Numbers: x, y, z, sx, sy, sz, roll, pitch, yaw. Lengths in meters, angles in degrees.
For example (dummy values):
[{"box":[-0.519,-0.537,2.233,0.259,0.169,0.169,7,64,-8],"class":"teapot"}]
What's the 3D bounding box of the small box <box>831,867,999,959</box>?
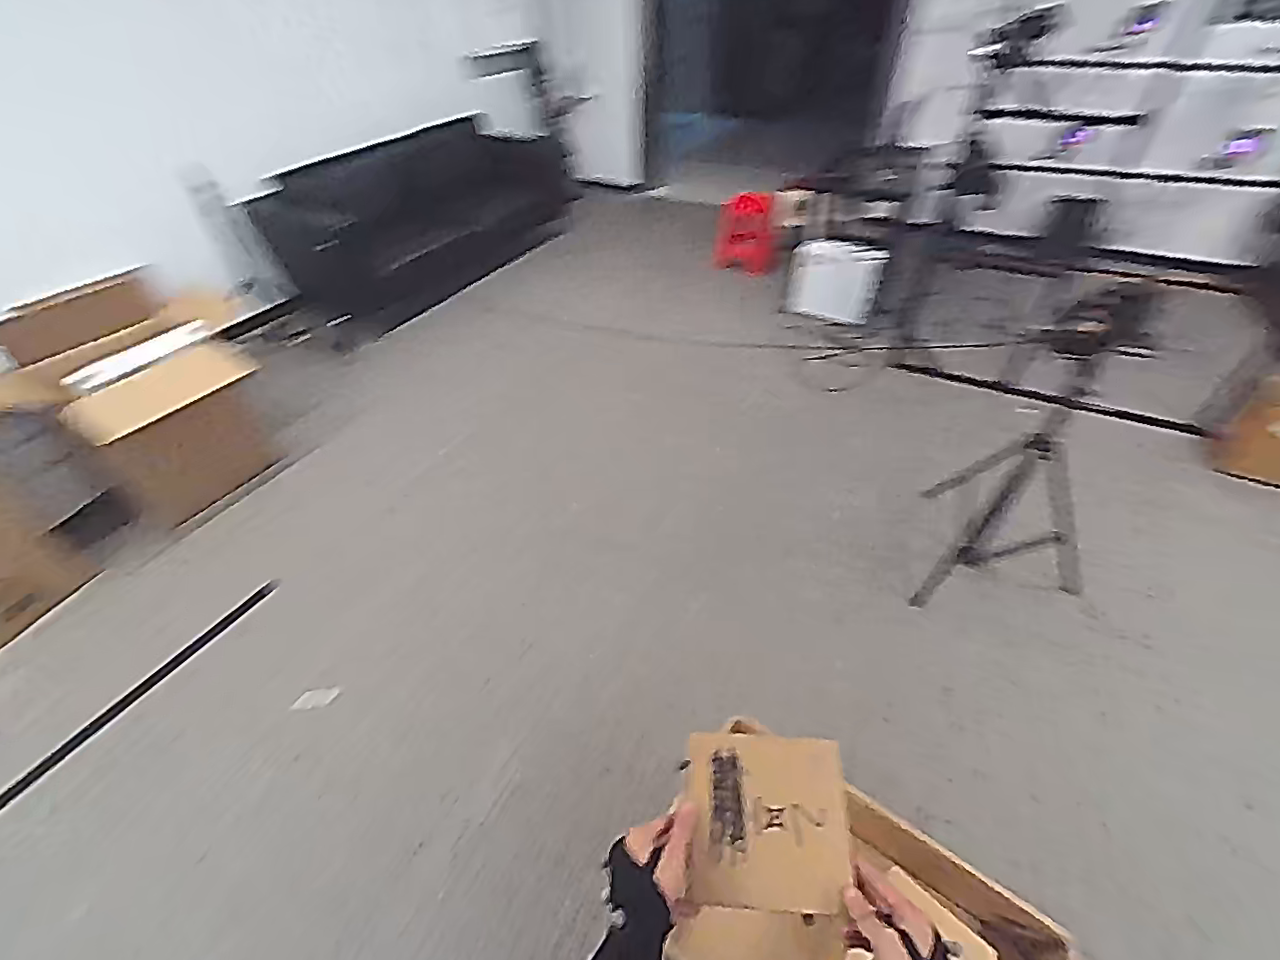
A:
[{"box":[0.419,0.772,0.853,0.168,0.176,0.179,33,52,32],"class":"small box"}]
